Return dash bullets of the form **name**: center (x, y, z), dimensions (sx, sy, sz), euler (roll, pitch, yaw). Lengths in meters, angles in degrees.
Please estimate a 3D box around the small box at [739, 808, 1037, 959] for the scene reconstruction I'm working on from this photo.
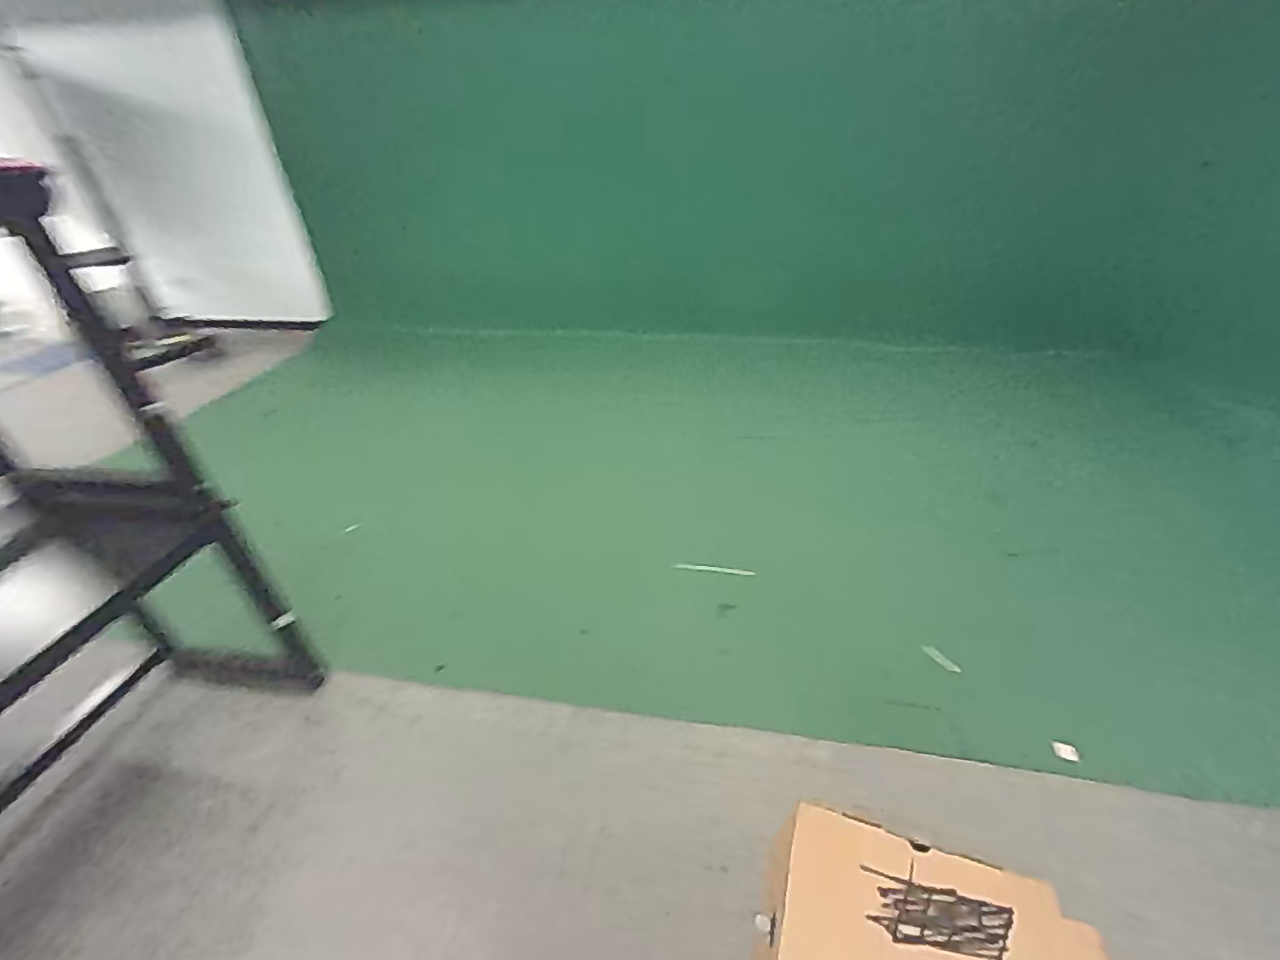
- **small box**: center (0.158, 0.372, 0.385), dimensions (0.168, 0.176, 0.179), euler (11, 50, 14)
